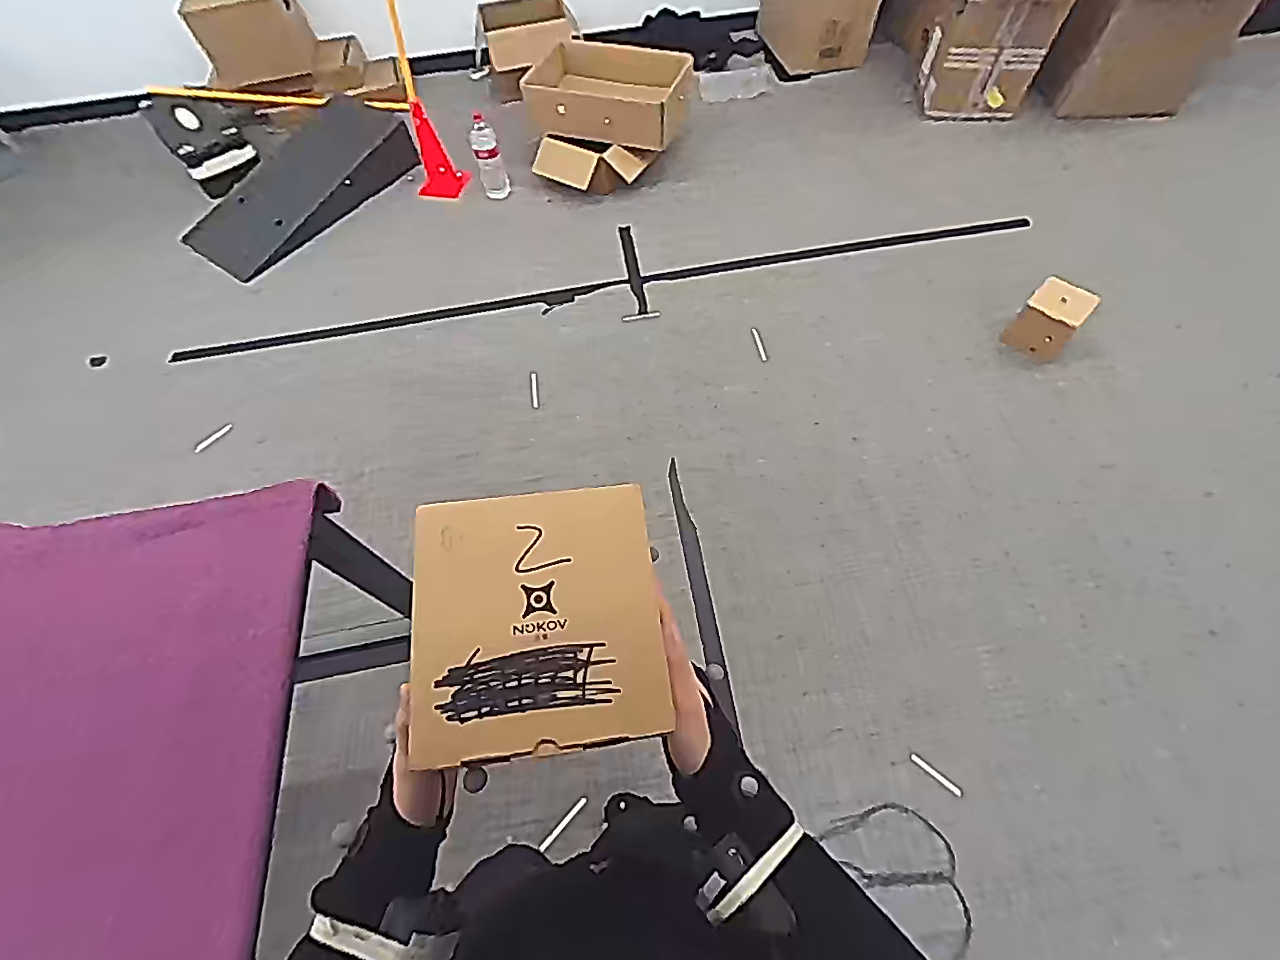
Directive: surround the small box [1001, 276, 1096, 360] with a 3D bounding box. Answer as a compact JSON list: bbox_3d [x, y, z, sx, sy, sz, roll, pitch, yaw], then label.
[{"bbox_3d":[1.348,-0.533,1.800,0.168,0.176,0.179,38,68,21],"label":"small box"}]
